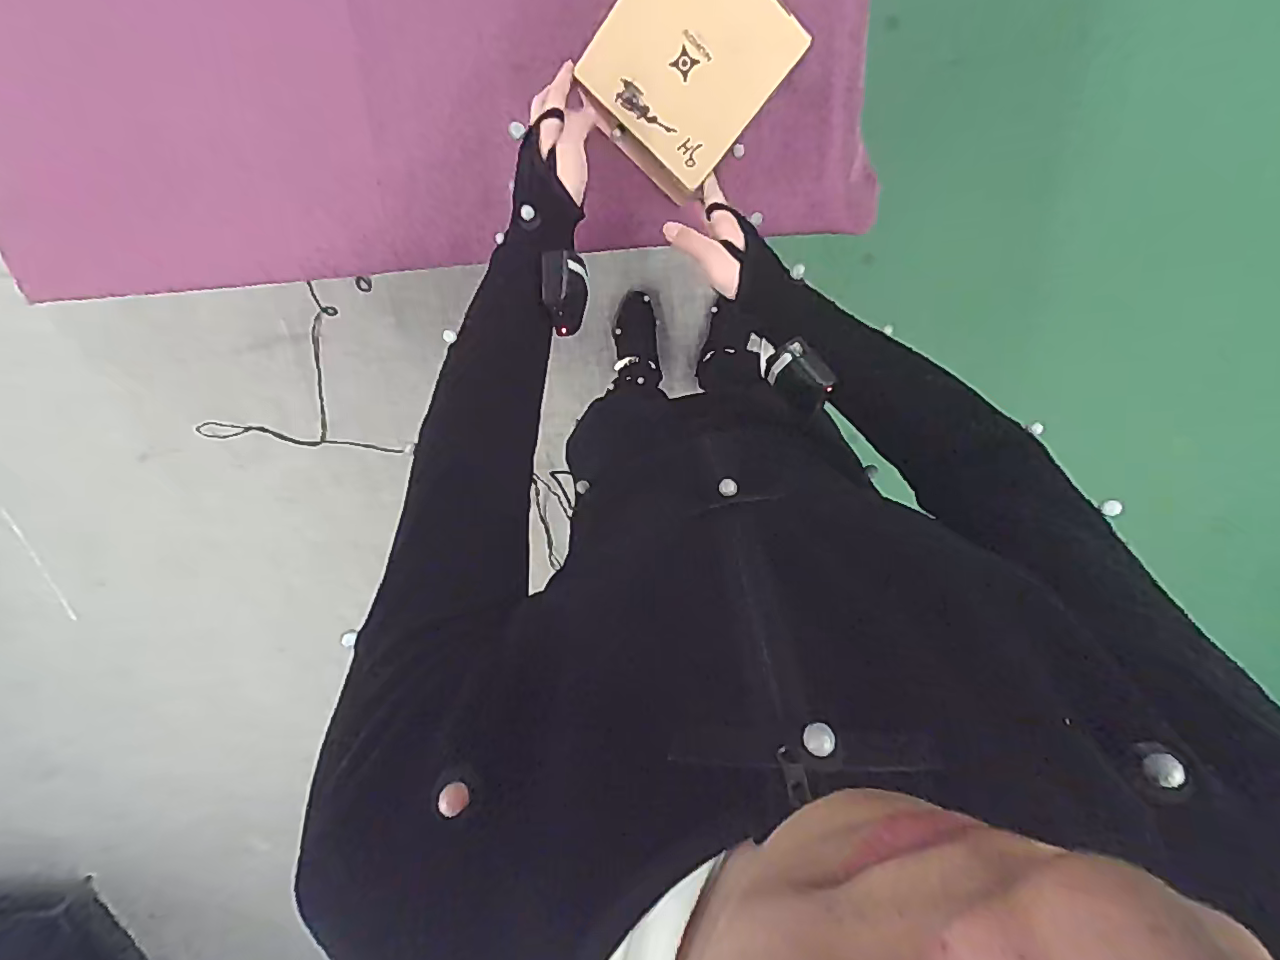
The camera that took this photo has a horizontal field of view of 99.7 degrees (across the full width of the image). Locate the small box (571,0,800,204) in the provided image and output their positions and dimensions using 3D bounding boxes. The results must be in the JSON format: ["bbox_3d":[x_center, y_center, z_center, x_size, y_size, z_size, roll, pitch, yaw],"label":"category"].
[{"bbox_3d":[0.046,-0.446,0.613,0.168,0.176,0.179,38,109,-12],"label":"small box"}]
